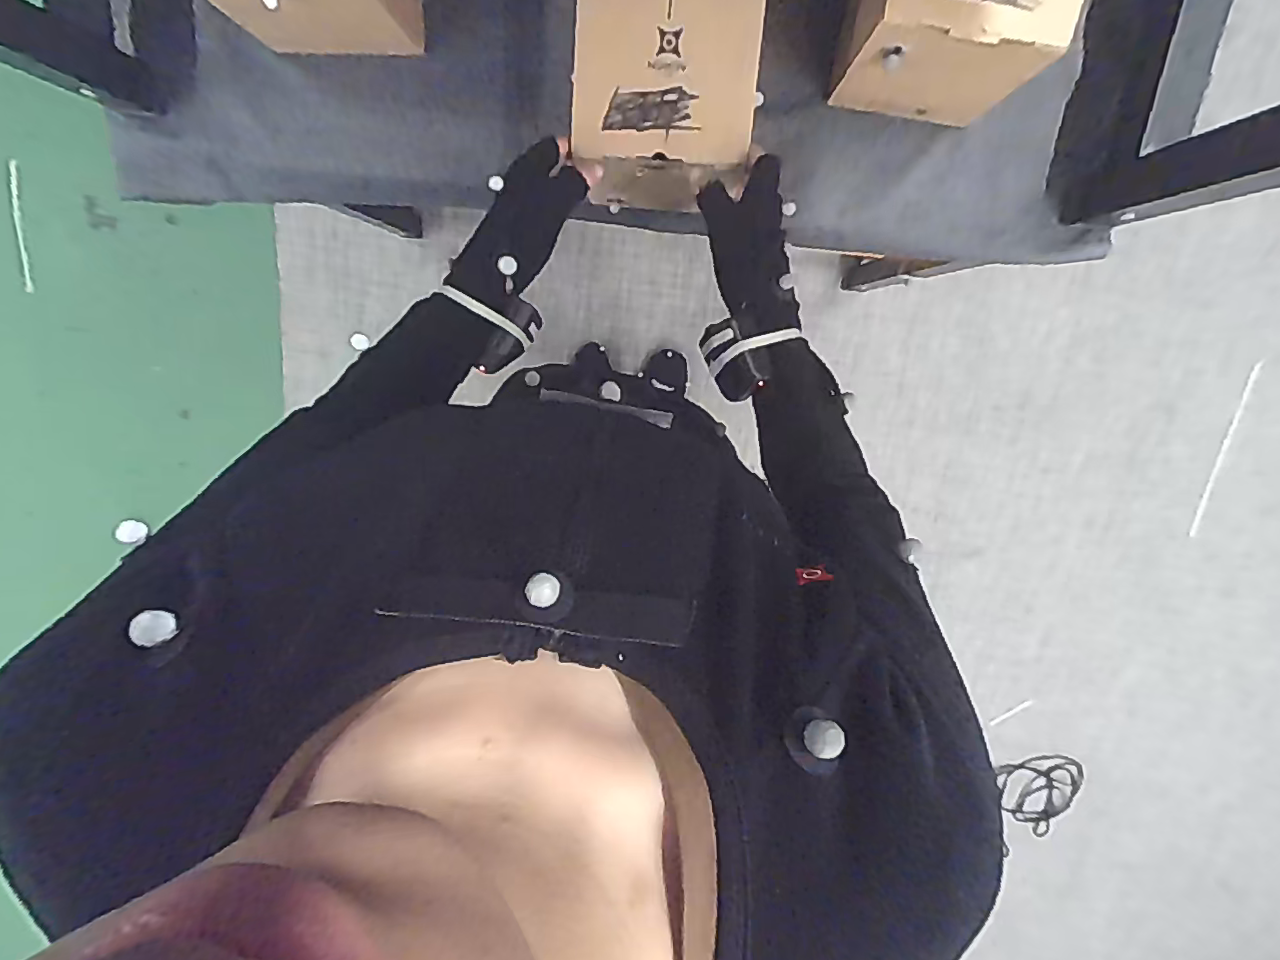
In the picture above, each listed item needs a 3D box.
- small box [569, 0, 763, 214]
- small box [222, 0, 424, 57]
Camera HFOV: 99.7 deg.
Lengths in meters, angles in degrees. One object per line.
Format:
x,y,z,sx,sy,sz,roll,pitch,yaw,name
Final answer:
0.025,-0.392,0.560,0.168,0.176,0.179,5,102,0,small box
-0.335,-0.551,0.531,0.179,0.176,0.168,2,105,0,small box
